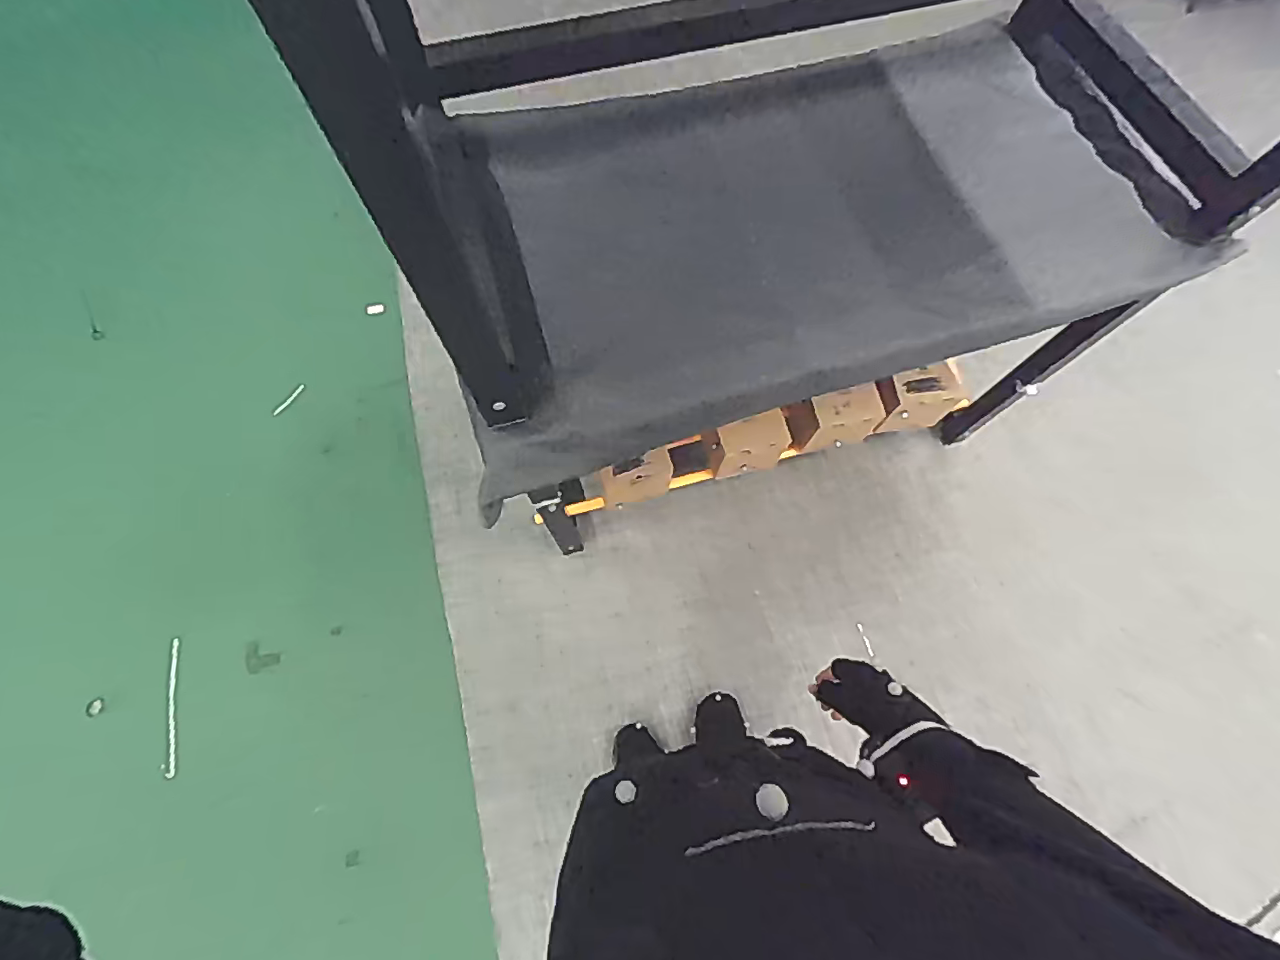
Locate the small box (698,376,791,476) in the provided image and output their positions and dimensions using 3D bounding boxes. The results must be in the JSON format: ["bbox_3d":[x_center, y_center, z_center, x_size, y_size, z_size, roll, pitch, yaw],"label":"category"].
[{"bbox_3d":[0.250,-0.130,1.344,0.168,0.176,0.179,-13,72,-5],"label":"small box"}]
